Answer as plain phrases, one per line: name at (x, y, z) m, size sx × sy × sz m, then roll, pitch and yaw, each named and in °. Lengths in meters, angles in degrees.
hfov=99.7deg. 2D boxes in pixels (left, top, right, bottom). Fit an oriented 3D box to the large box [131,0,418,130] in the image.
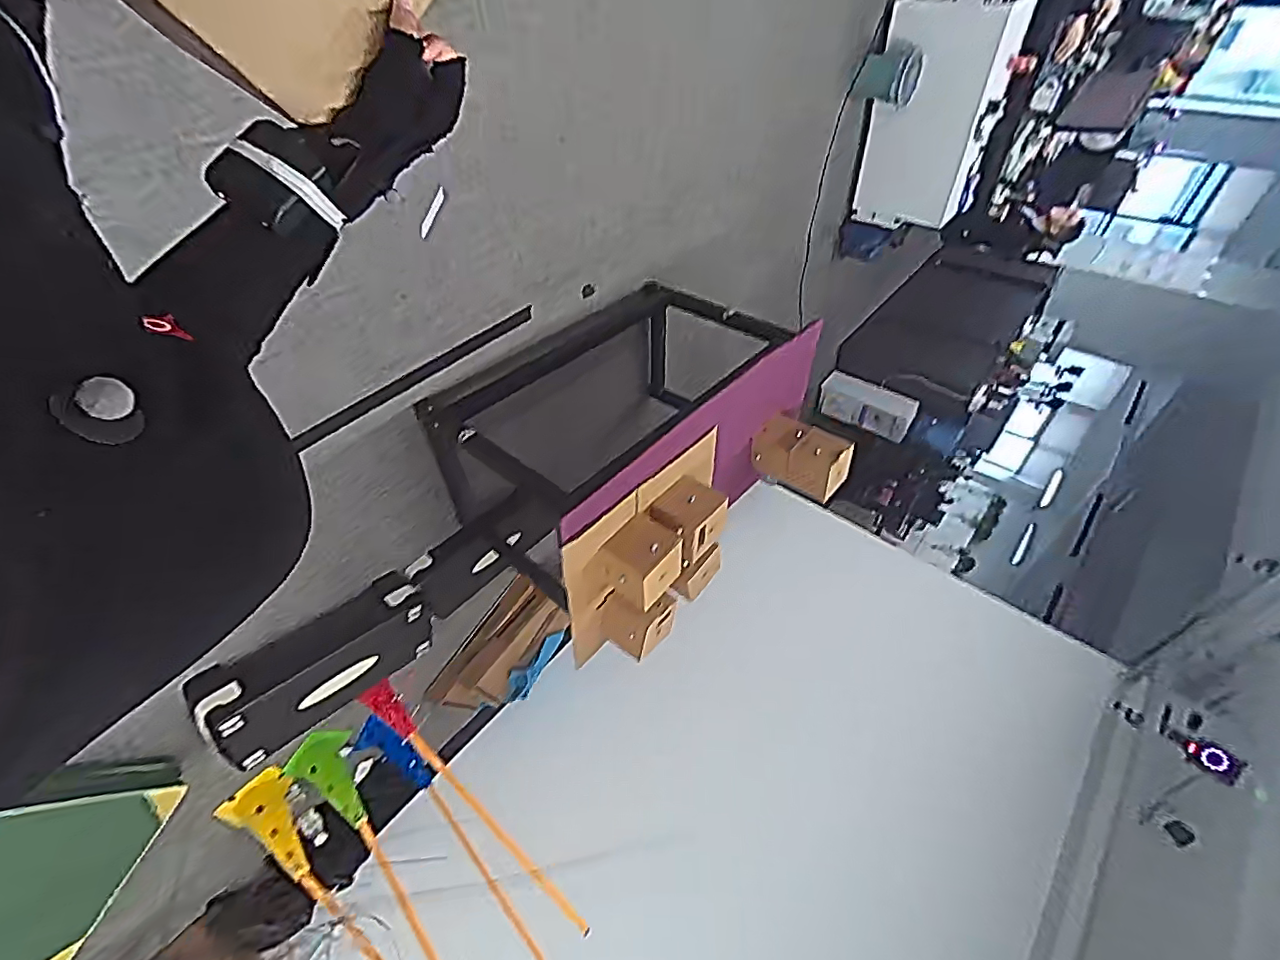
large box at (-0.341, -0.522, 0.306) m, size 0.320 × 0.320 × 0.408 m, roll -52°, pitch 156°, yaw 3°
